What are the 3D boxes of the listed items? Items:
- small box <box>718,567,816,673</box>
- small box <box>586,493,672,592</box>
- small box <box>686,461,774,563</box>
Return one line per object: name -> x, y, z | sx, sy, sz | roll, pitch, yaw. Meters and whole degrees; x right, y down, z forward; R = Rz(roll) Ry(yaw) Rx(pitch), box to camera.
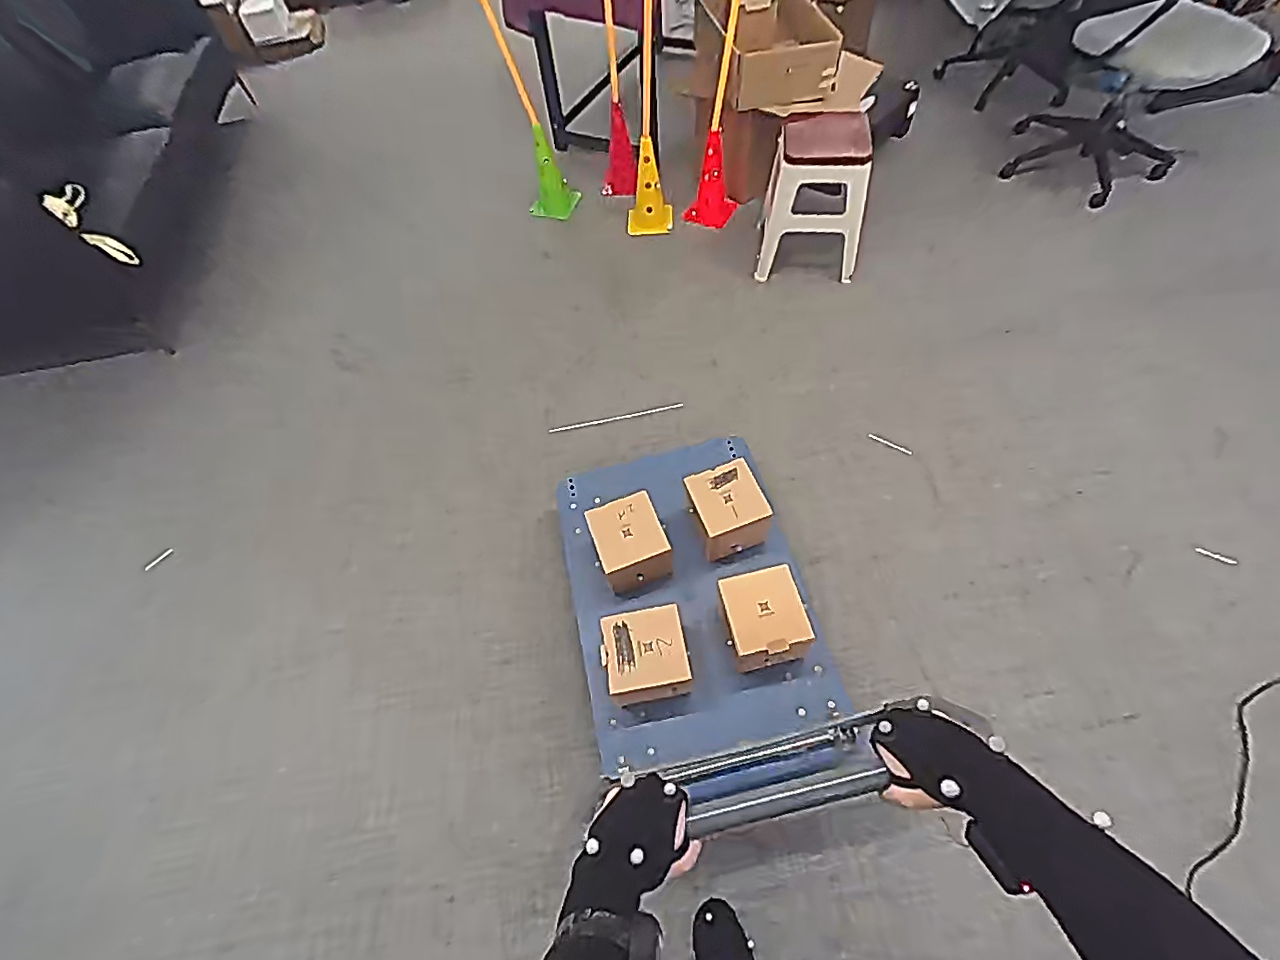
small box -> 0.282, 0.326, 1.248 | 0.168, 0.176, 0.179 | -13, 60, -2
small box -> -0.023, 0.167, 1.370 | 0.168, 0.176, 0.179 | -19, 60, -6
small box -> 0.224, 0.086, 1.393 | 0.168, 0.176, 0.179 | -20, 61, -5
